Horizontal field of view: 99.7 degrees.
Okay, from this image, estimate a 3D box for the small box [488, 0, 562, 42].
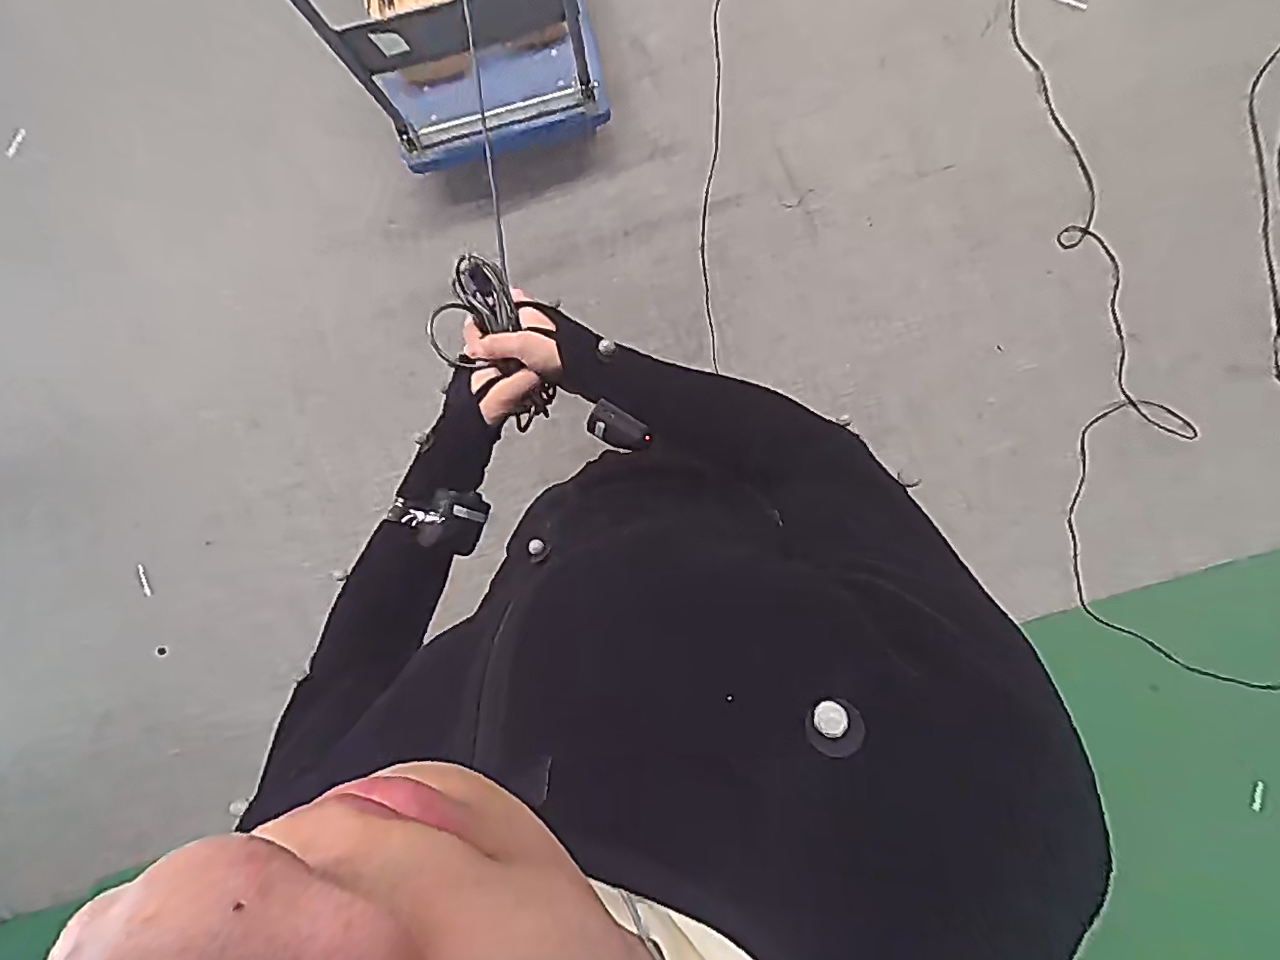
[{"bbox_3d":[-0.297,-1.228,1.314,0.168,0.176,0.179,-11,94,3],"label":"small box"}]
